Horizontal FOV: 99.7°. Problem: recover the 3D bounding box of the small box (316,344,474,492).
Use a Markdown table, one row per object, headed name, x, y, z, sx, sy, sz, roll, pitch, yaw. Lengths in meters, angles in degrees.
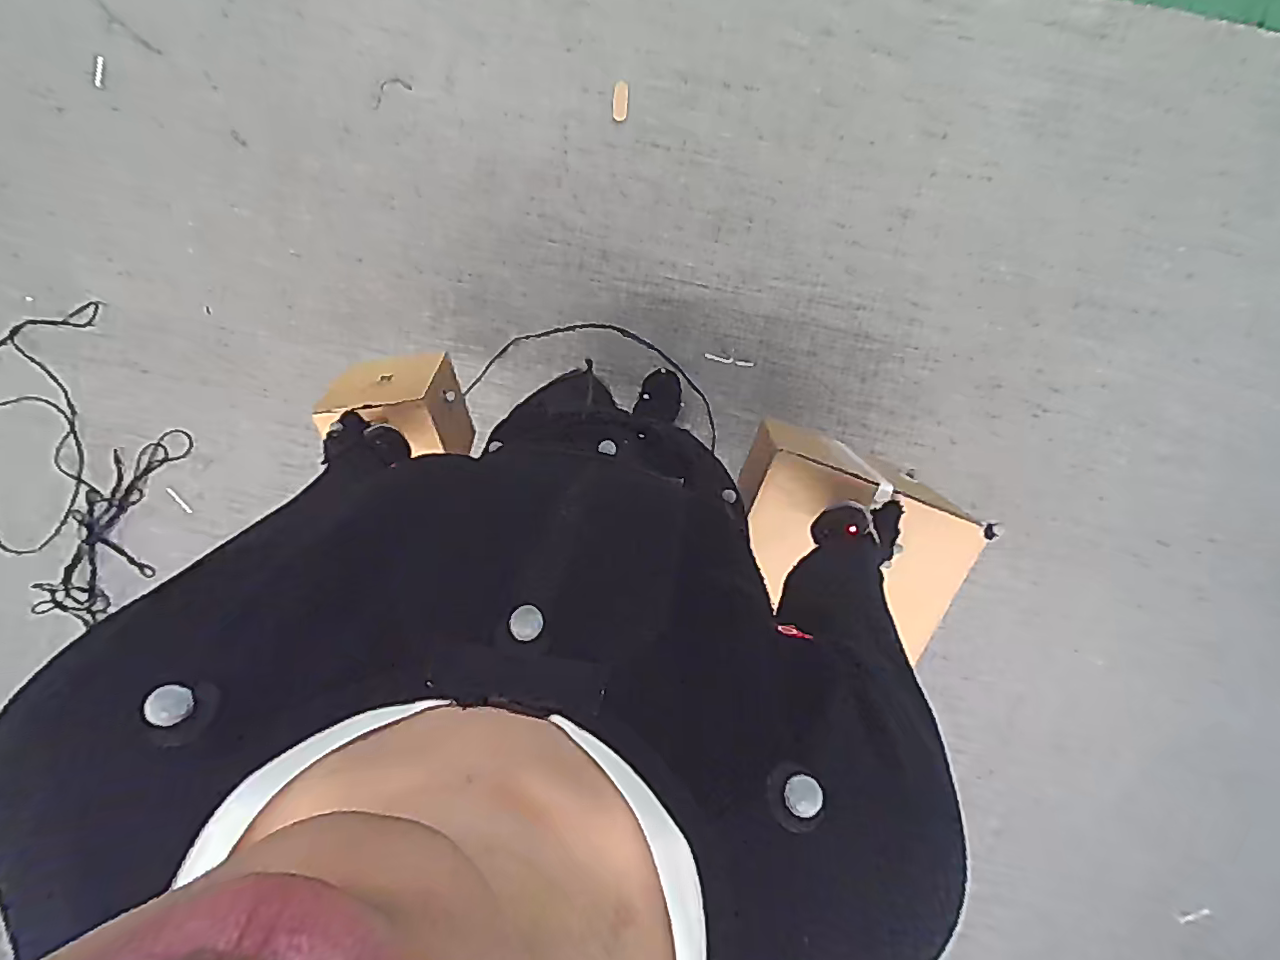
| name | x | y | z | sx | sy | sz | roll | pitch | yaw |
| --- | --- | --- | --- | --- | --- | --- | --- | --- | --- |
| small box | -0.385 | -0.103 | 0.891 | 0.168 | 0.179 | 0.176 | -7 | 129 | 0 |
